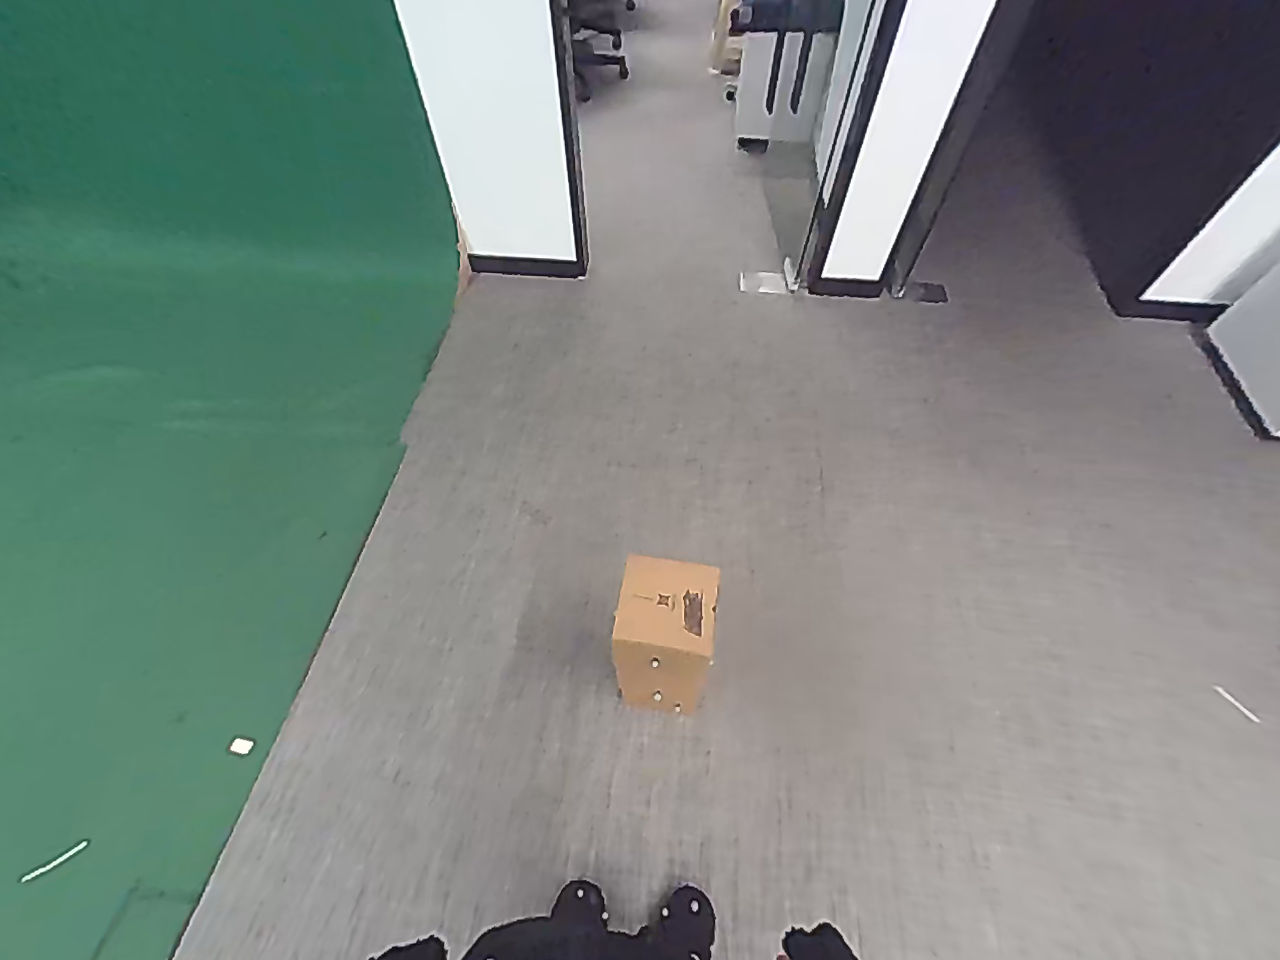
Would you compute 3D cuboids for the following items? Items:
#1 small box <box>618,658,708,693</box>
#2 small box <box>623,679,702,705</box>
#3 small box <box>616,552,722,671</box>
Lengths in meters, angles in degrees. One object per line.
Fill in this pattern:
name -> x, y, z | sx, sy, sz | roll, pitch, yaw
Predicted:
small box -> 0.057, 0.348, 1.165 | 0.179, 0.176, 0.168 | 10, 57, 6
small box -> 0.060, 0.434, 1.305 | 0.179, 0.176, 0.168 | 6, 56, 6
small box -> 0.053, 0.255, 1.029 | 0.179, 0.176, 0.168 | 7, 57, 3
